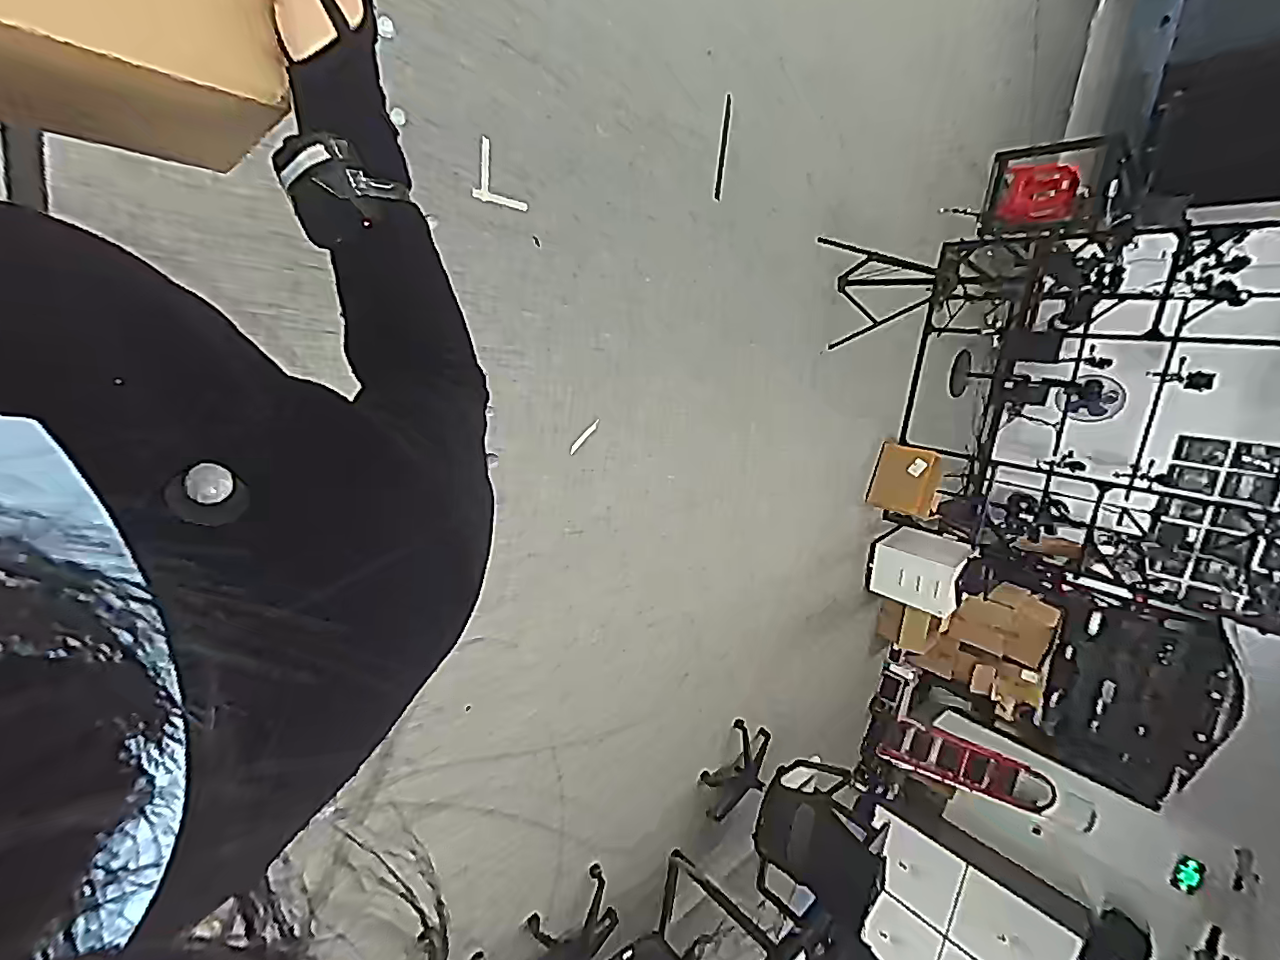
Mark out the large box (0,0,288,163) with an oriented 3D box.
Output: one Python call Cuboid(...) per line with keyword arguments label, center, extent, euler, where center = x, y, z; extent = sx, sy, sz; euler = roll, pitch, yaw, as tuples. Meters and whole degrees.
Cuboid(label="large box", center=(-0.492, -0.438, 0.335), extent=(0.408, 0.320, 0.320), euler=(-8, 108, -42))
